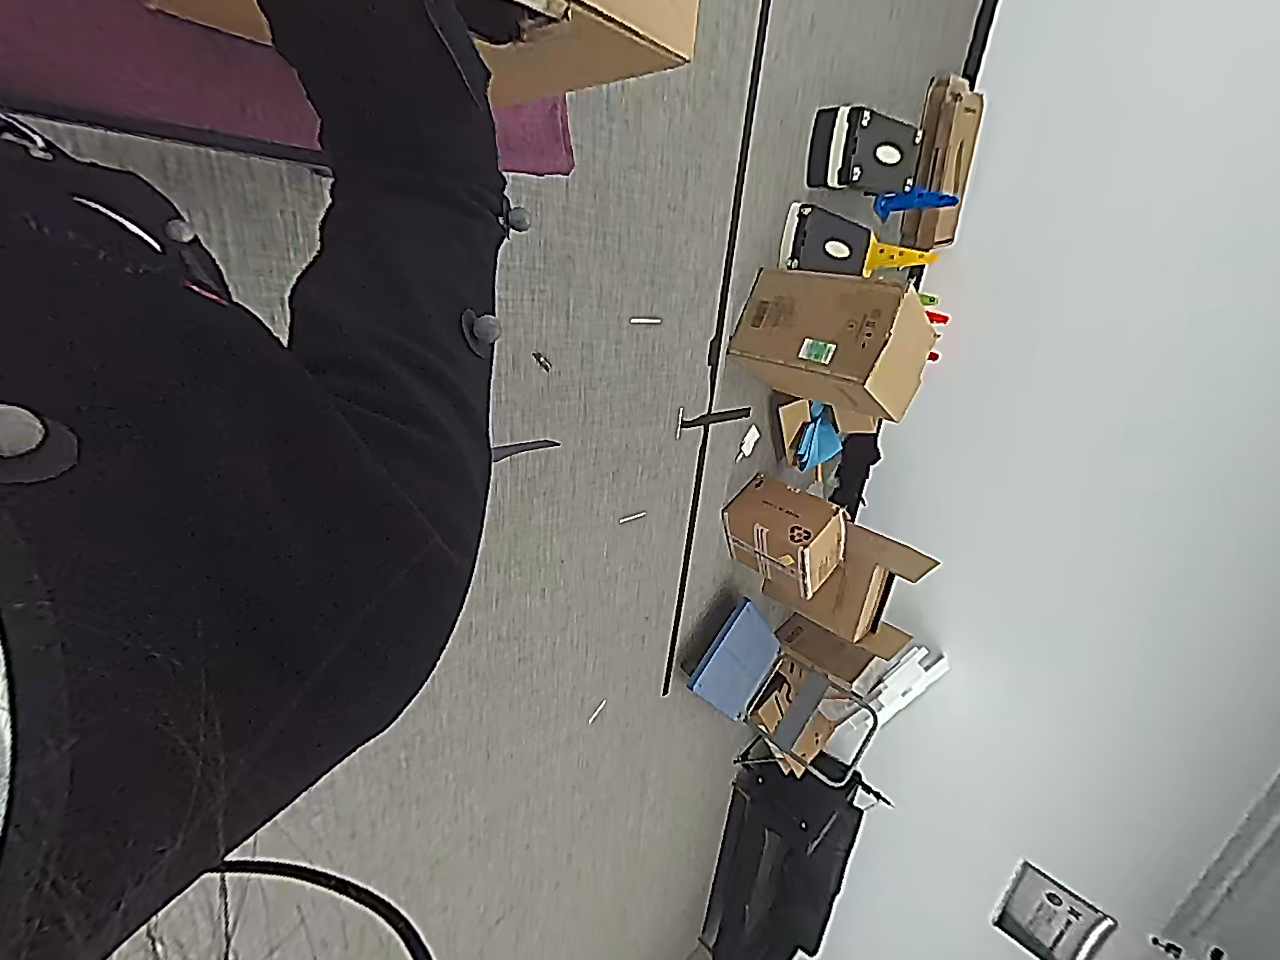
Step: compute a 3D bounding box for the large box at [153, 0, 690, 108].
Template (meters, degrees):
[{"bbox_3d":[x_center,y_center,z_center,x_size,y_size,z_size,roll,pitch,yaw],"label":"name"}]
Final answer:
[{"bbox_3d":[-0.162,-0.535,0.361,0.320,0.320,0.408,-16,120,-43],"label":"large box"}]
